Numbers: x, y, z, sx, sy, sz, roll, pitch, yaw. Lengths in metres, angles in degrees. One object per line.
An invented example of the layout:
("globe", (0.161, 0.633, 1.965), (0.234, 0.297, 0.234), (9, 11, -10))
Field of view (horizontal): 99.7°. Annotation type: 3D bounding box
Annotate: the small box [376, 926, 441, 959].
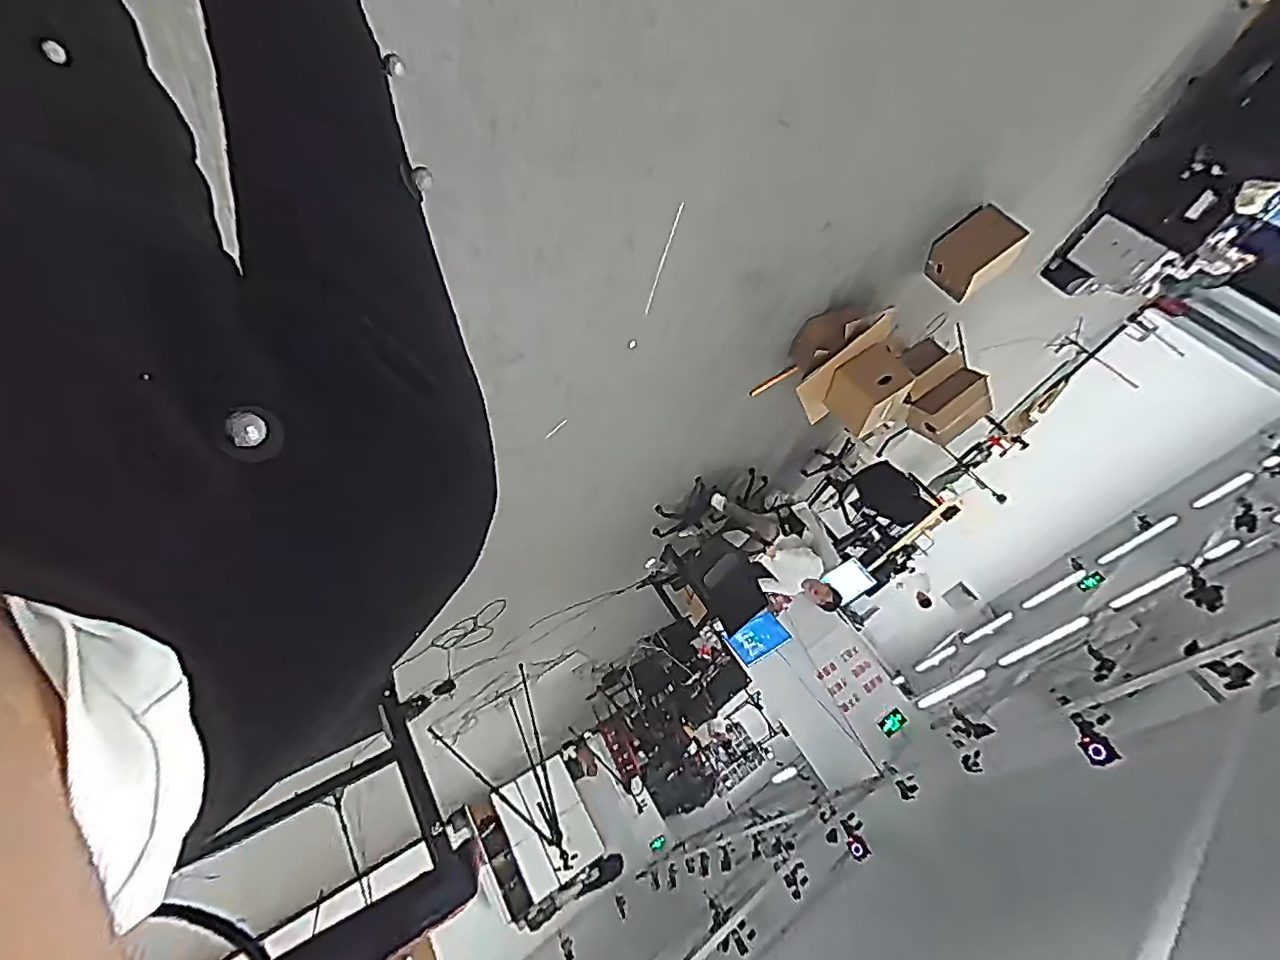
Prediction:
("small box", (-0.651, 1.407, 1.530), (0.168, 0.176, 0.179), (-20, 151, -31))
